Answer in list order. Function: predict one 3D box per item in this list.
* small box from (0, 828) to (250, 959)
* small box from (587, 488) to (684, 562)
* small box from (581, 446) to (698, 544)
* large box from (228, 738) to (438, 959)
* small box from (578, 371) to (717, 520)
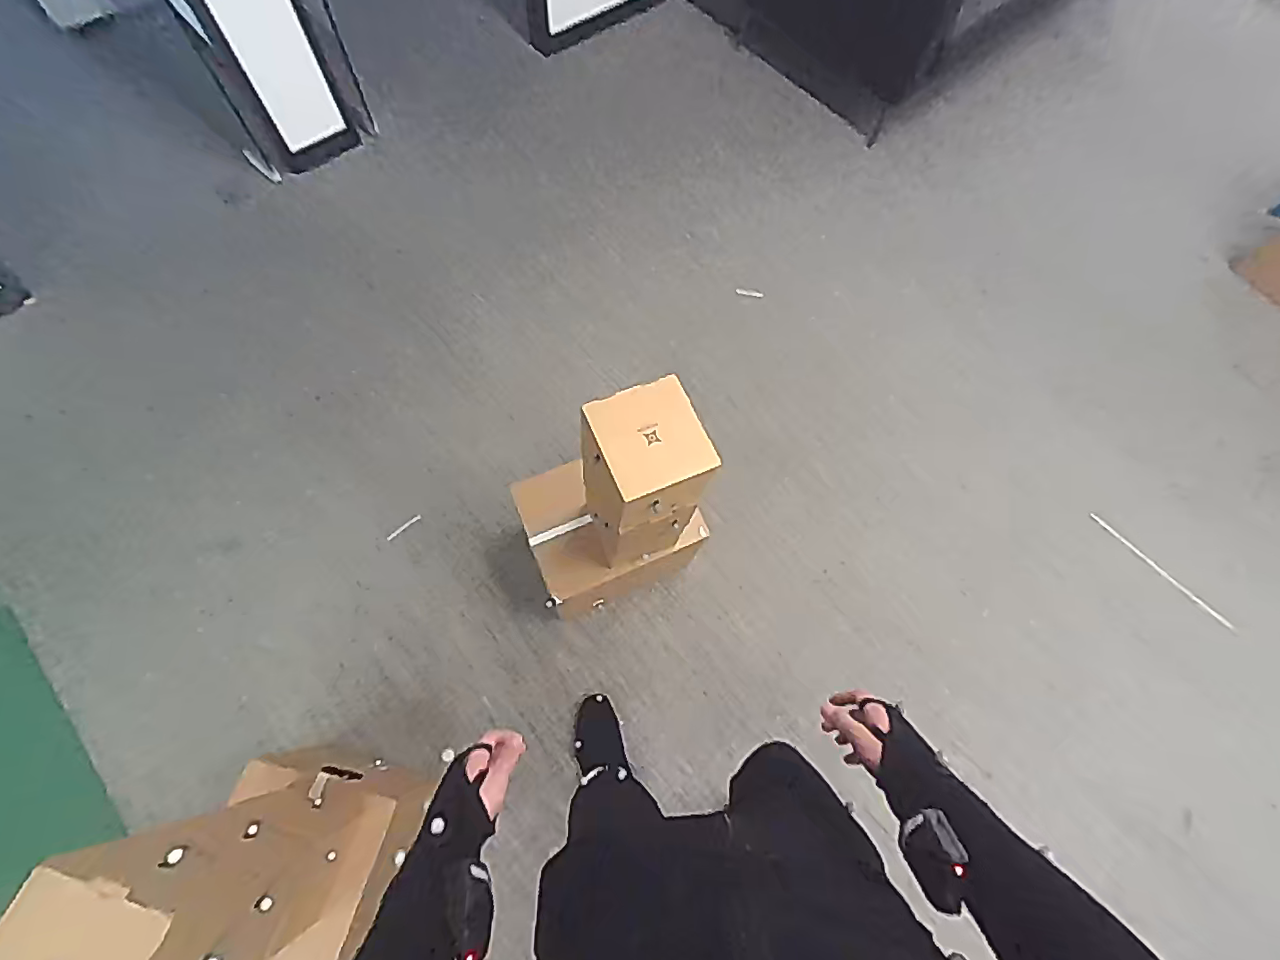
[{"bbox_3d":[-0.604,0.536,0.626,0.168,0.176,0.179,20,68,4],"label":"small box"},{"bbox_3d":[-0.019,0.064,1.209,0.168,0.176,0.179,-19,73,-11],"label":"small box"},{"bbox_3d":[-0.007,0.013,1.055,0.168,0.176,0.179,-21,72,-12],"label":"small box"},{"bbox_3d":[-0.676,0.803,1.134,0.320,0.320,0.408,15,70,3],"label":"large box"},{"bbox_3d":[0.006,-0.046,0.905,0.168,0.176,0.179,-22,72,-12],"label":"small box"}]
